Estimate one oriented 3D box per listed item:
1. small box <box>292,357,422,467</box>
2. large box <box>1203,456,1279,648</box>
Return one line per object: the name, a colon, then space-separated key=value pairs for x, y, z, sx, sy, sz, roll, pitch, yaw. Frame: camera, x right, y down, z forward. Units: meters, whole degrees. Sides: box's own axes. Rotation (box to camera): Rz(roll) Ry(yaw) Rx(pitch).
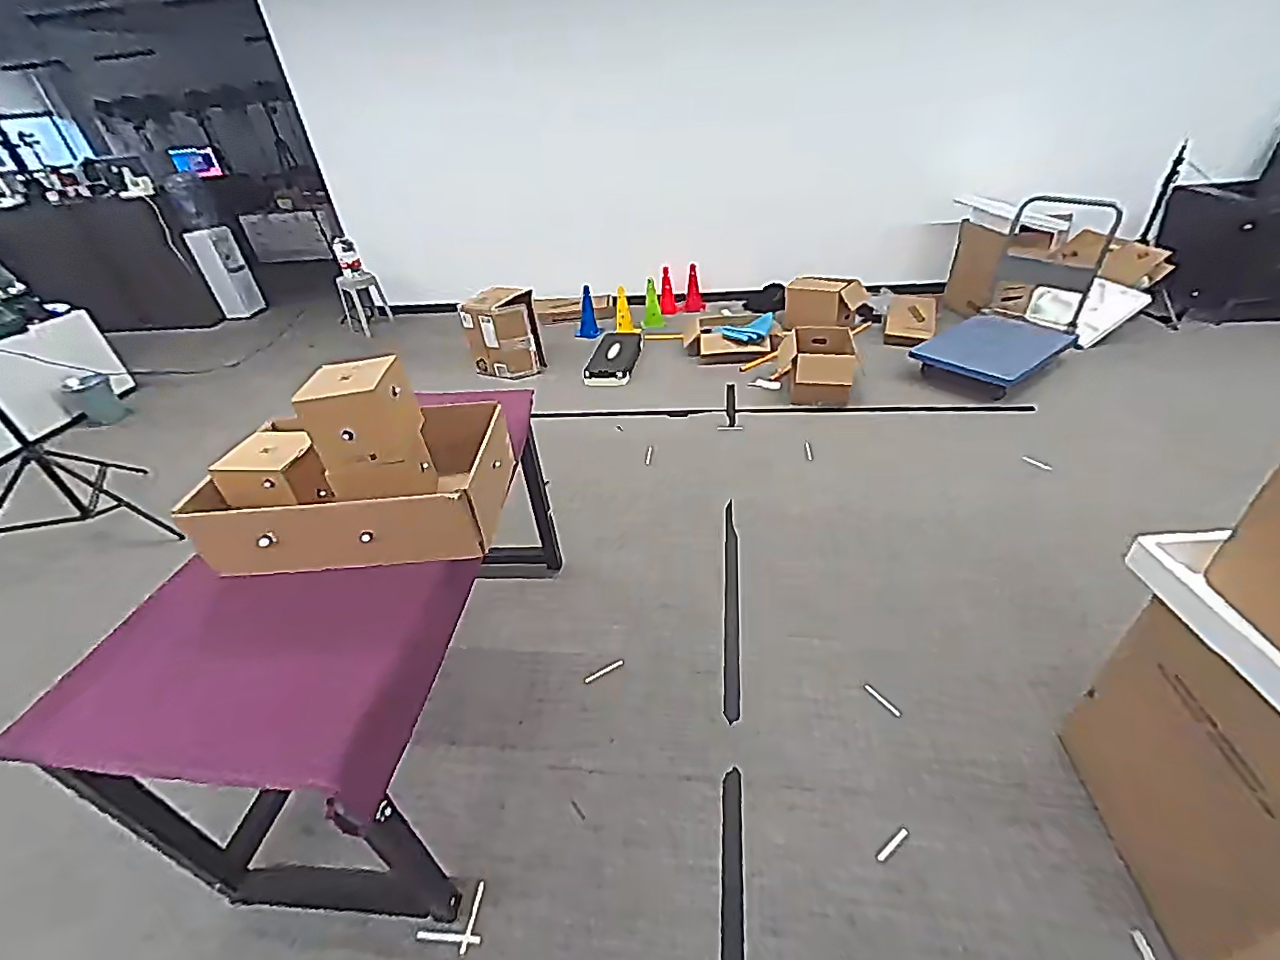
small box: x=-0.583 y=-0.139 z=1.143 sx=0.168 sy=0.176 sz=0.179 roll=-8 pitch=35 yaw=-1
large box: x=1.262 y=0.180 z=0.838 sx=0.320 sy=0.320 sz=0.408 roll=-2 pitch=34 yaw=4
